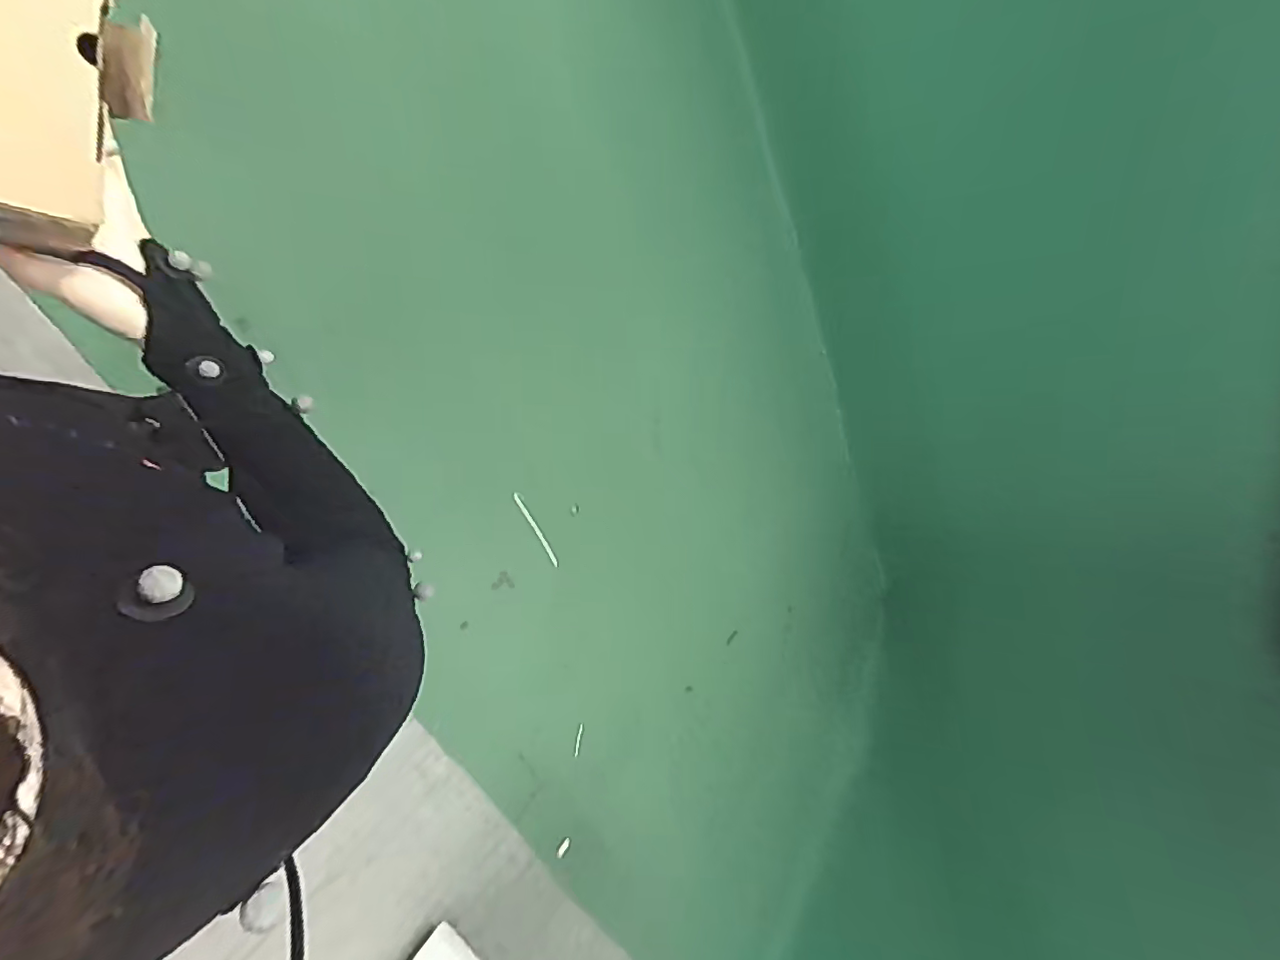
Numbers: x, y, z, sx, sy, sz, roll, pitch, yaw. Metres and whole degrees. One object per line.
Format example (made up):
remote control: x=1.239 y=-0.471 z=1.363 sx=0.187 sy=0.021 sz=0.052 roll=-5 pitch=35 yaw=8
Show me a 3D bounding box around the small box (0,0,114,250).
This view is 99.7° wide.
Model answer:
small box: x=-0.377 y=-0.221 z=0.253 sx=0.179 sy=0.176 sz=0.168 roll=1 pitch=99 yaw=-50
